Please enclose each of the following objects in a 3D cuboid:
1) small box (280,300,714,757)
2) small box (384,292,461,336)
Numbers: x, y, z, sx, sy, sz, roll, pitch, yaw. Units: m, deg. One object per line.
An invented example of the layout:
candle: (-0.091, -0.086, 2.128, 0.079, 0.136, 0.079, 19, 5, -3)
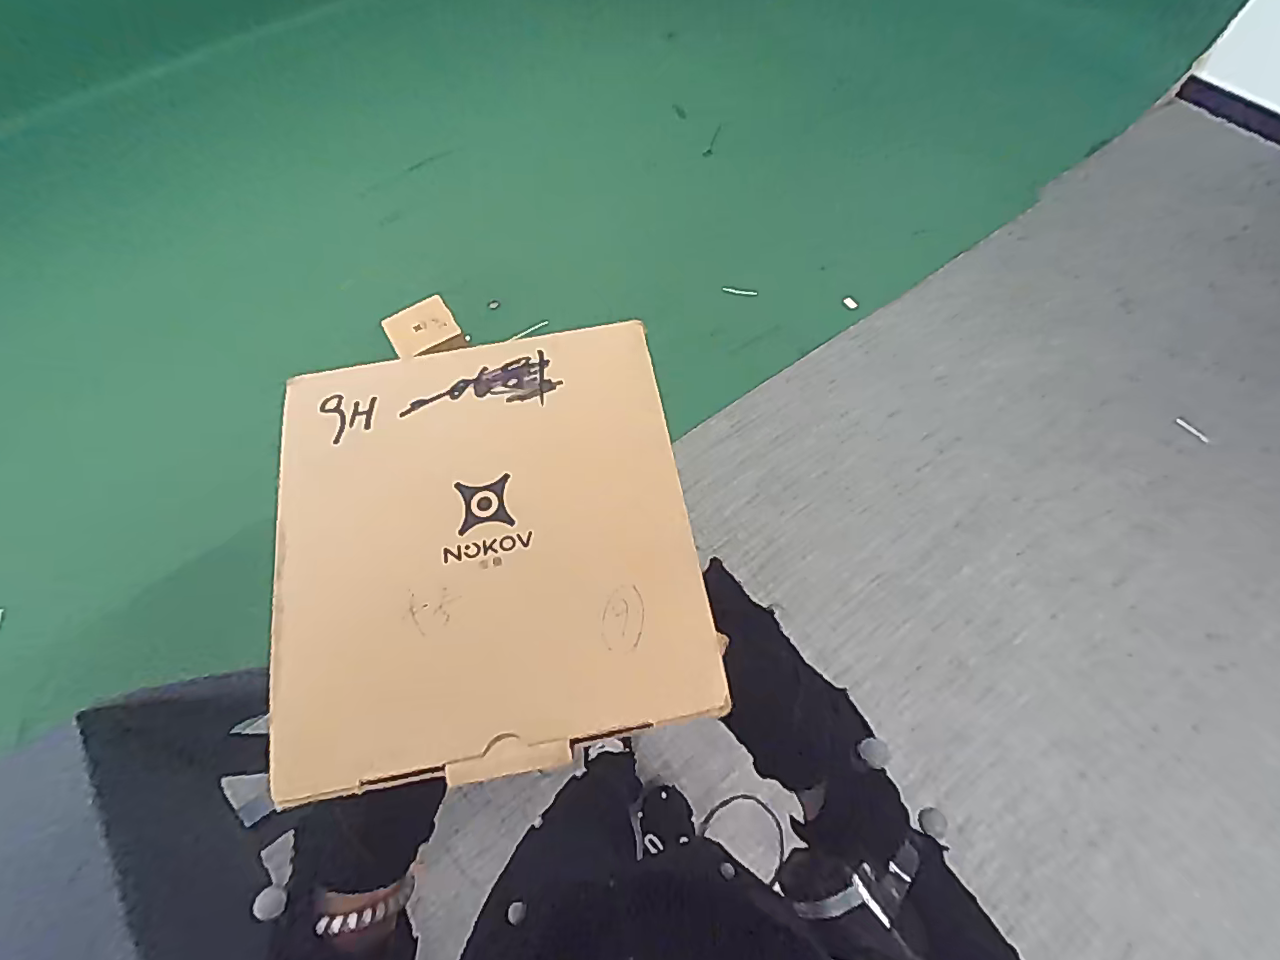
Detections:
small box: (-0.063, 0.033, 0.301, 0.168, 0.176, 0.179, -9, 70, -4)
small box: (-0.579, -0.386, 1.524, 0.179, 0.176, 0.168, -30, 67, -11)
